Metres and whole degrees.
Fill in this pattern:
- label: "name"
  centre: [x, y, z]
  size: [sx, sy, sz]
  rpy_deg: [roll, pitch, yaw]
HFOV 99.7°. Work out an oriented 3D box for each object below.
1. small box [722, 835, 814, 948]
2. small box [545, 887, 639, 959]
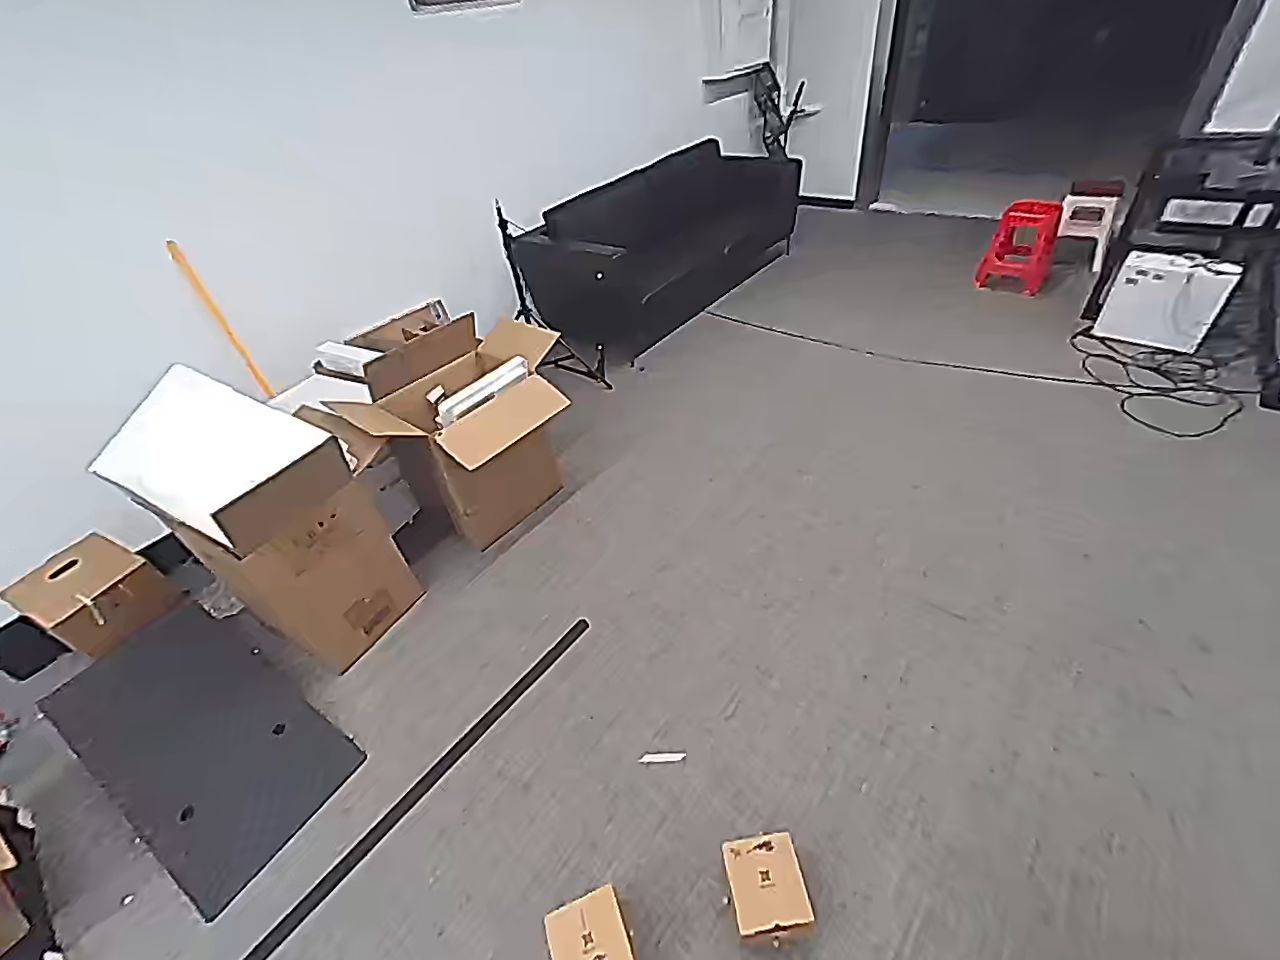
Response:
- label: "small box"
  centre: [0.292, 0.963, 1.261]
  size: [0.168, 0.176, 0.179]
  rpy_deg: [-9, 41, -2]
- label: "small box"
  centre: [-0.098, 1.064, 1.209]
  size: [0.168, 0.176, 0.179]
  rpy_deg: [-19, 40, -12]
